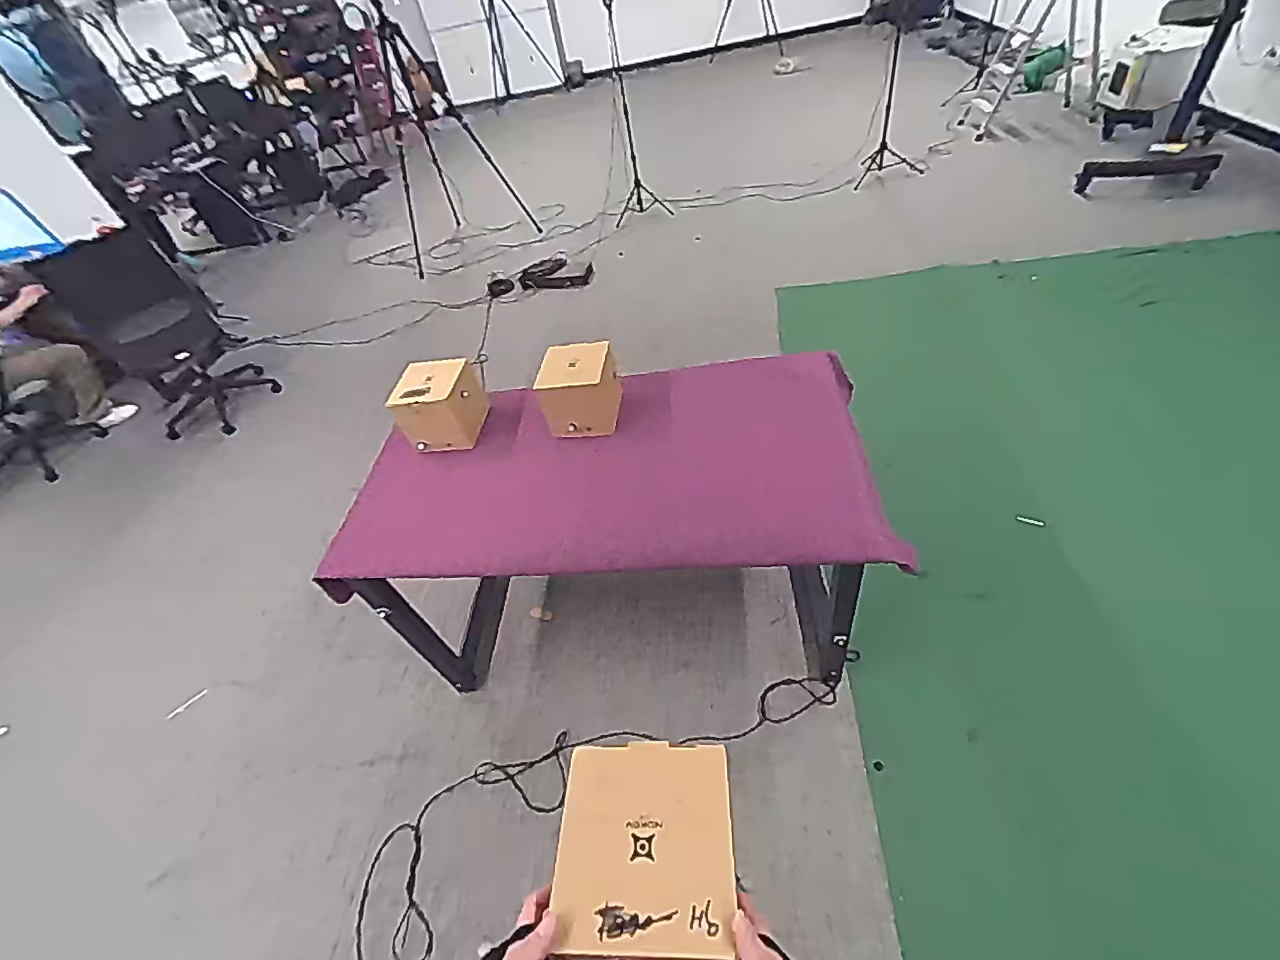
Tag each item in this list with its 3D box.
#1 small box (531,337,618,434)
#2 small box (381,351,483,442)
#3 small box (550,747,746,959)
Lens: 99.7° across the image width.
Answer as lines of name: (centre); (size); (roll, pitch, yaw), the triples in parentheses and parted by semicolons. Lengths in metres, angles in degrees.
small box: (-0.154, -0.235, 1.356); (0.168, 0.176, 0.179); (-2, 49, 11)
small box: (-0.528, -0.209, 1.405); (0.168, 0.176, 0.179); (-2, 48, 9)
small box: (0.018, 0.403, 0.558); (0.168, 0.176, 0.179); (-4, 37, 7)
